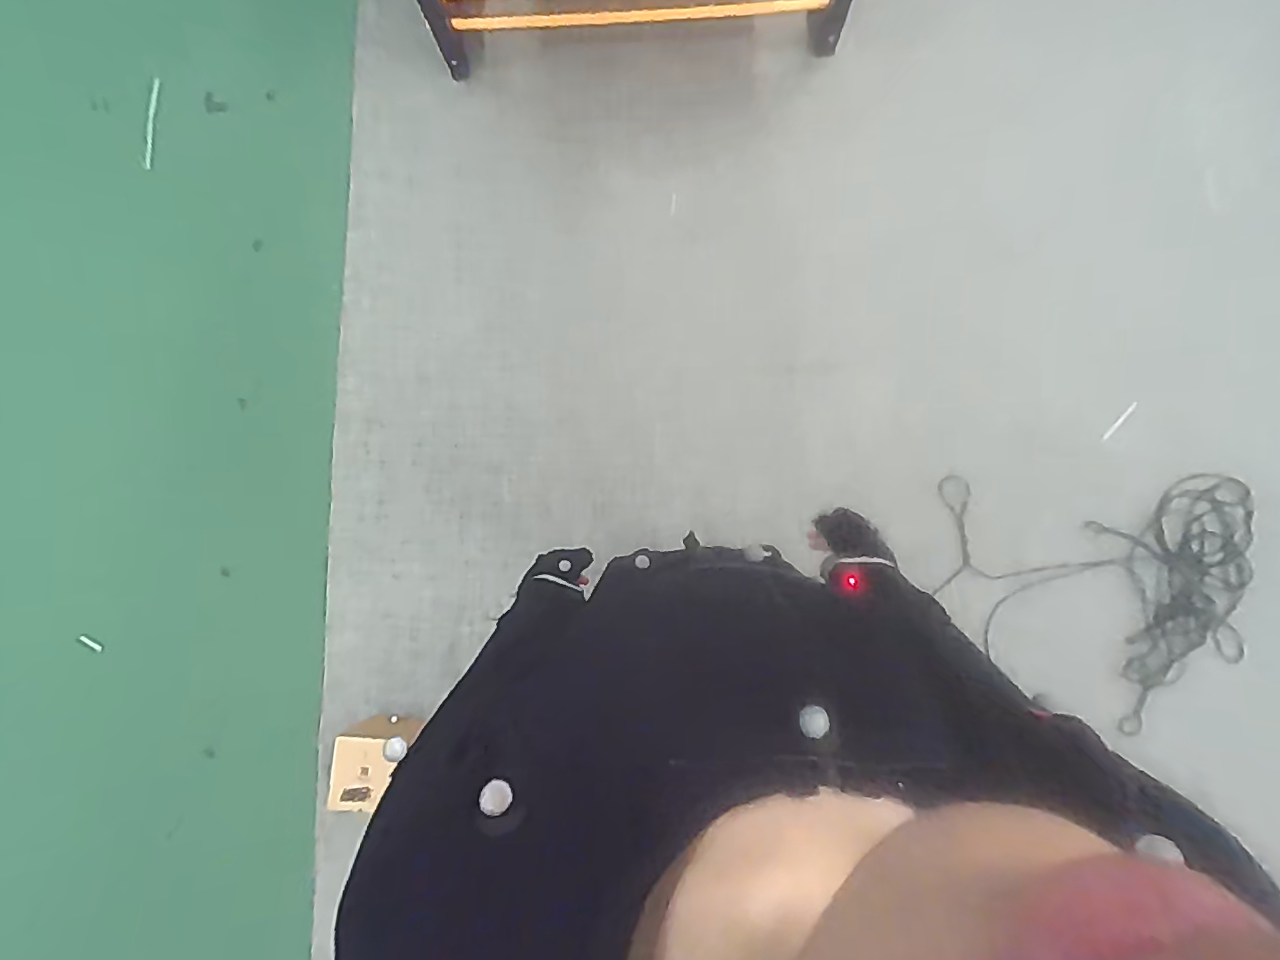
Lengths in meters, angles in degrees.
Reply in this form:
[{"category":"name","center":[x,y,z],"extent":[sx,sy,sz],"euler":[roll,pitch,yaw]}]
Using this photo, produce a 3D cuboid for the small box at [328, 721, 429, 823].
[{"category":"small box","center":[-0.656,0.733,1.374],"extent":[0.168,0.176,0.179],"euler":[3,82,3]}]
